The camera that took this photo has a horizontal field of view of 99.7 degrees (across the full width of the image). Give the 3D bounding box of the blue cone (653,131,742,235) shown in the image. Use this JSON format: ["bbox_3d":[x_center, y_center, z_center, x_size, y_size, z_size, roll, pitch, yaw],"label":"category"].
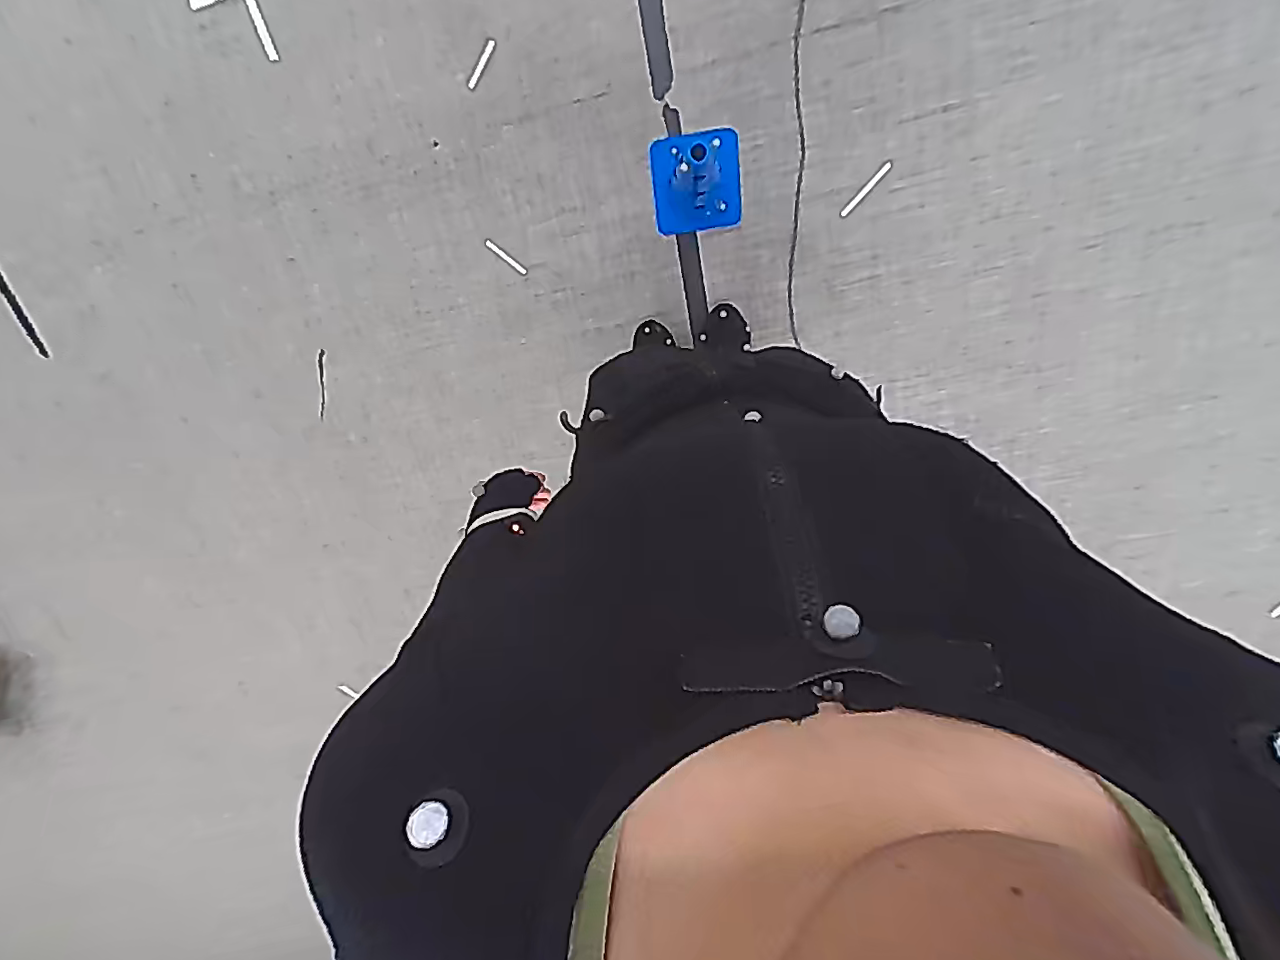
[{"bbox_3d":[0.117,-0.615,1.073,0.193,0.380,0.192,-7,110,7],"label":"blue cone"}]
